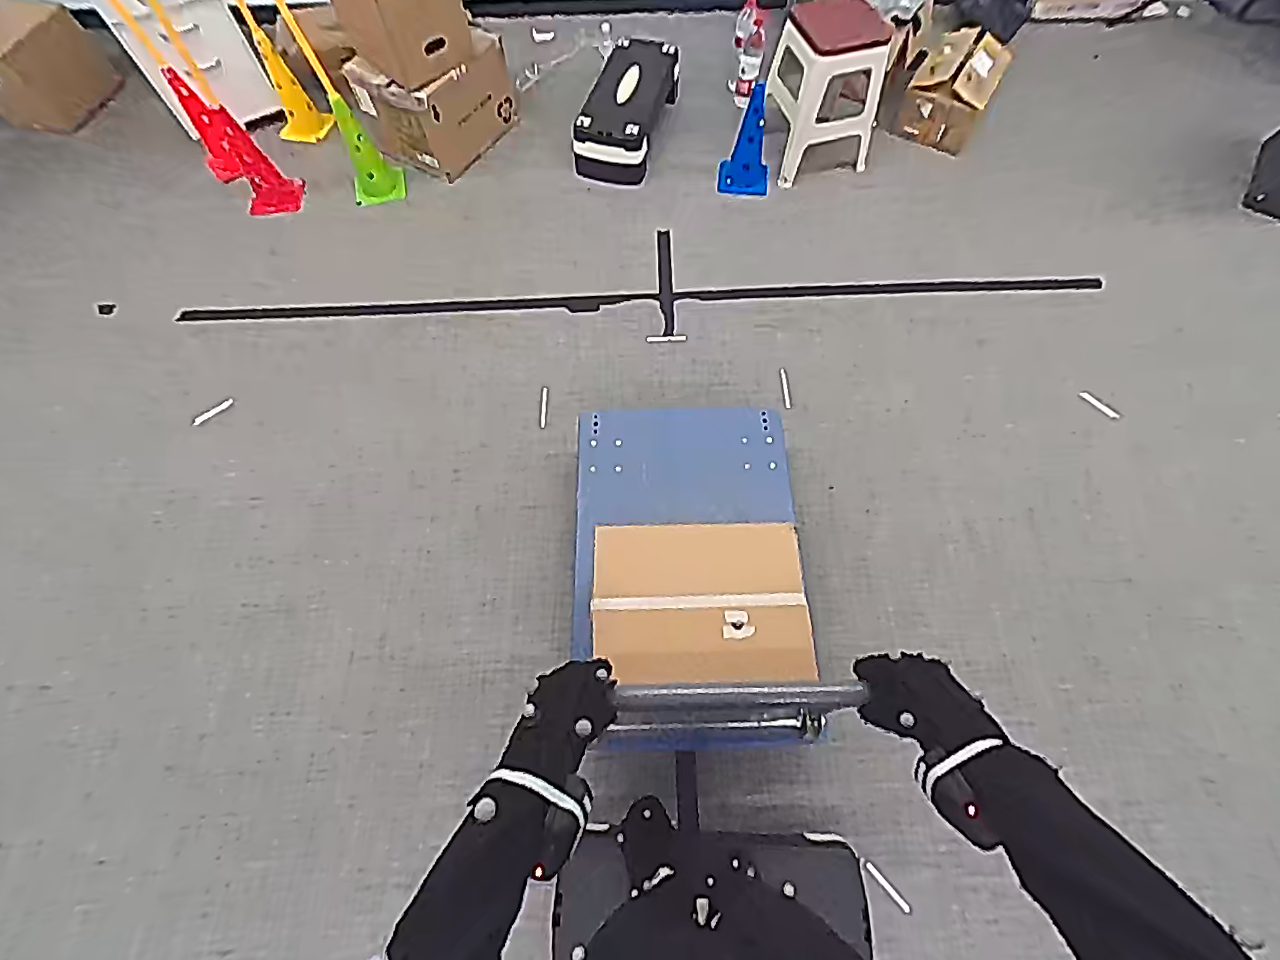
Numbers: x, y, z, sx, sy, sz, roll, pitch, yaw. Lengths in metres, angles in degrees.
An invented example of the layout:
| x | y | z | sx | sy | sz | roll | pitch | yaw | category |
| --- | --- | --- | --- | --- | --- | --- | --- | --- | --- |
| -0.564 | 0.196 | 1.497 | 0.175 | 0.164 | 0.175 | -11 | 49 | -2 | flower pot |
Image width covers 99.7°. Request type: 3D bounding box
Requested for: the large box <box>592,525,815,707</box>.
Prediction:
| x | y | z | sx | sy | sz | roll | pitch | yaw | category |
| --- | --- | --- | --- | --- | --- | --- | --- | --- | --- |
| 0.106 | 0.300 | 1.149 | 0.408 | 0.320 | 0.320 | -1 | 65 | -1 | large box |
